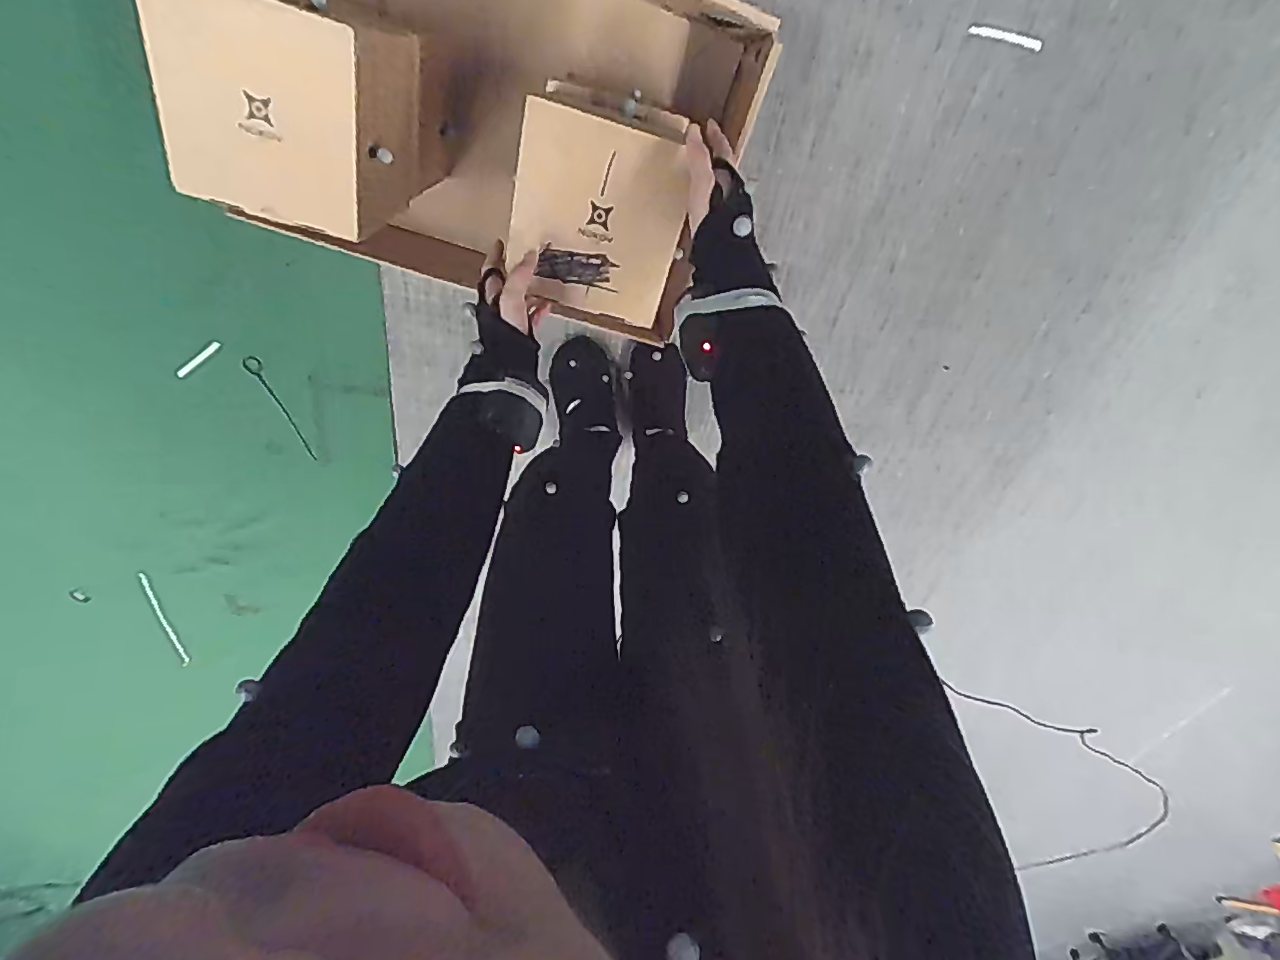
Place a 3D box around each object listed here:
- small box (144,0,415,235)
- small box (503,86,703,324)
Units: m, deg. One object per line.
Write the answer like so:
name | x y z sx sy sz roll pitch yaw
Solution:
small box | -0.332 -0.376 0.534 0.168 0.176 0.179 13 128 -12
small box | -0.041 -0.303 0.594 0.168 0.176 0.179 13 125 -10
